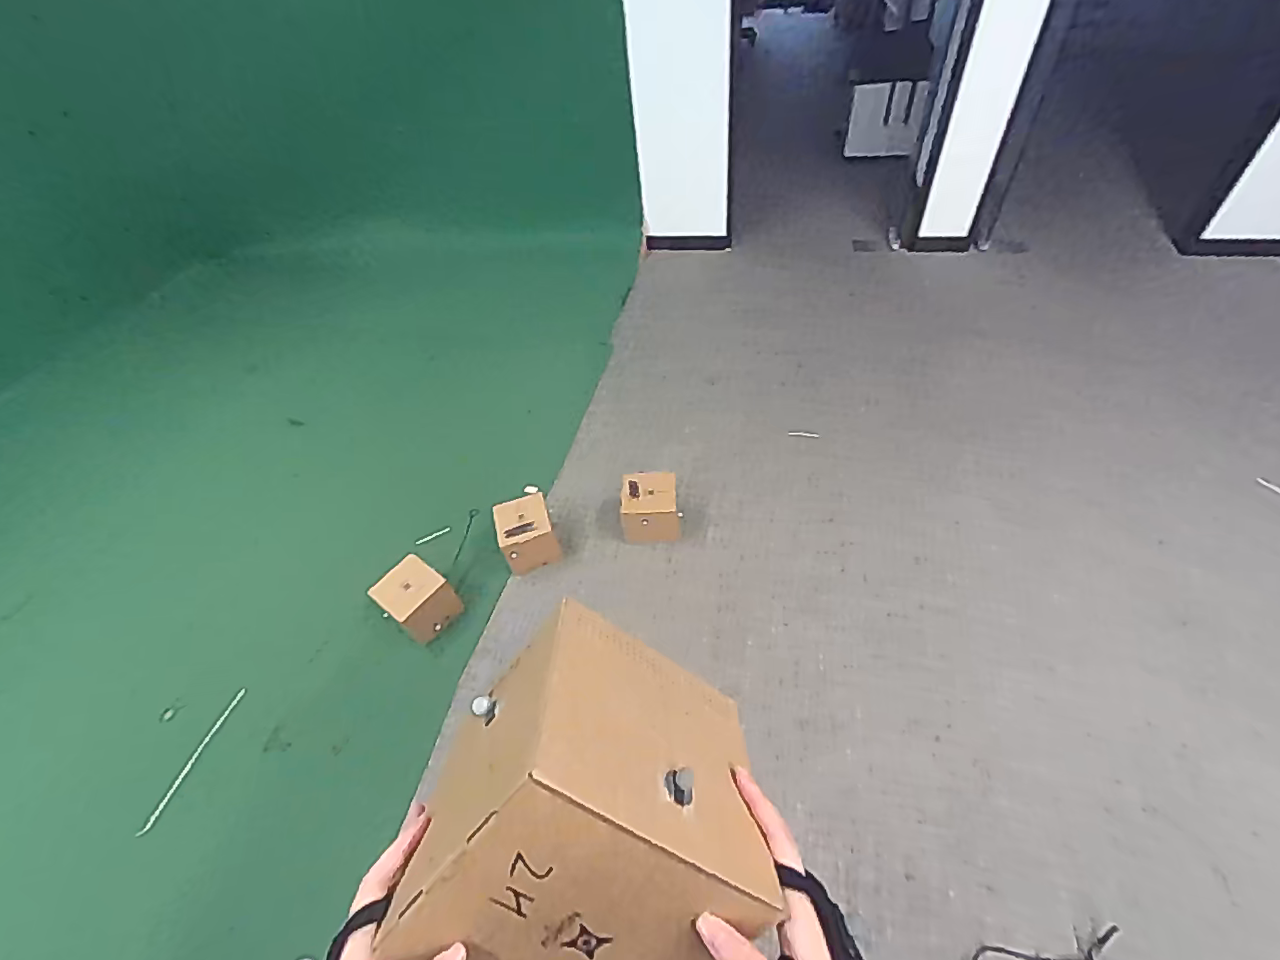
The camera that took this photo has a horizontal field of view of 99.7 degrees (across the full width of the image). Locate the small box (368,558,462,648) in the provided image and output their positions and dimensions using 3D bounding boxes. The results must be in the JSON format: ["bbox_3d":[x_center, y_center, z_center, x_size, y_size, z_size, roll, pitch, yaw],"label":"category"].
[{"bbox_3d":[-0.675,0.375,1.636,0.179,0.176,0.168,27,57,28],"label":"small box"}]

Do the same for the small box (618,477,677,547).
[{"bbox_3d":[0.030,0.108,1.777,0.179,0.176,0.168,-2,48,5],"label":"small box"}]
